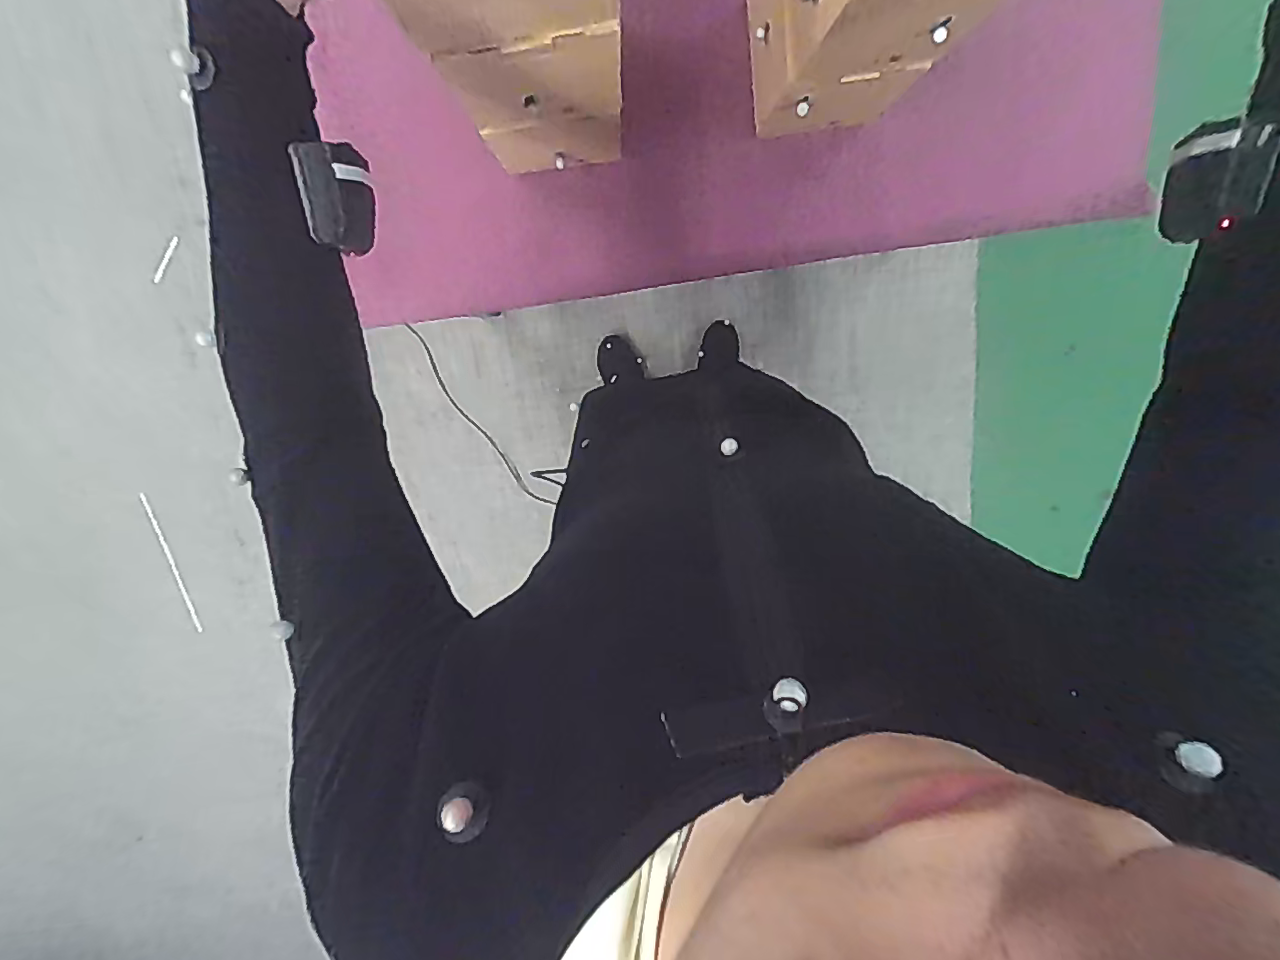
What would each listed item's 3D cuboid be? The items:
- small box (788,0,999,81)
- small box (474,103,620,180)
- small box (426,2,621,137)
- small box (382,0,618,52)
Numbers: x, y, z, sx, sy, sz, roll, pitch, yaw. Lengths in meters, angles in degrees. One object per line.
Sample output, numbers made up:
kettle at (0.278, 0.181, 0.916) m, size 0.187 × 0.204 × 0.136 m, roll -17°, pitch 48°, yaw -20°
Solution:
small box at (0.243, -0.510, 0.507) m, size 0.168 × 0.176 × 0.179 m, roll -9°, pitch 104°, yaw 0°
small box at (-0.117, -0.499, 0.670) m, size 0.168 × 0.176 × 0.179 m, roll -8°, pitch 105°, yaw 1°
small box at (-0.113, -0.461, 0.512) m, size 0.168 × 0.176 × 0.179 m, roll -9°, pitch 105°, yaw 0°
small box at (-0.113, -0.422, 0.352) m, size 0.179 × 0.176 × 0.168 m, roll -9°, pitch 104°, yaw 1°
